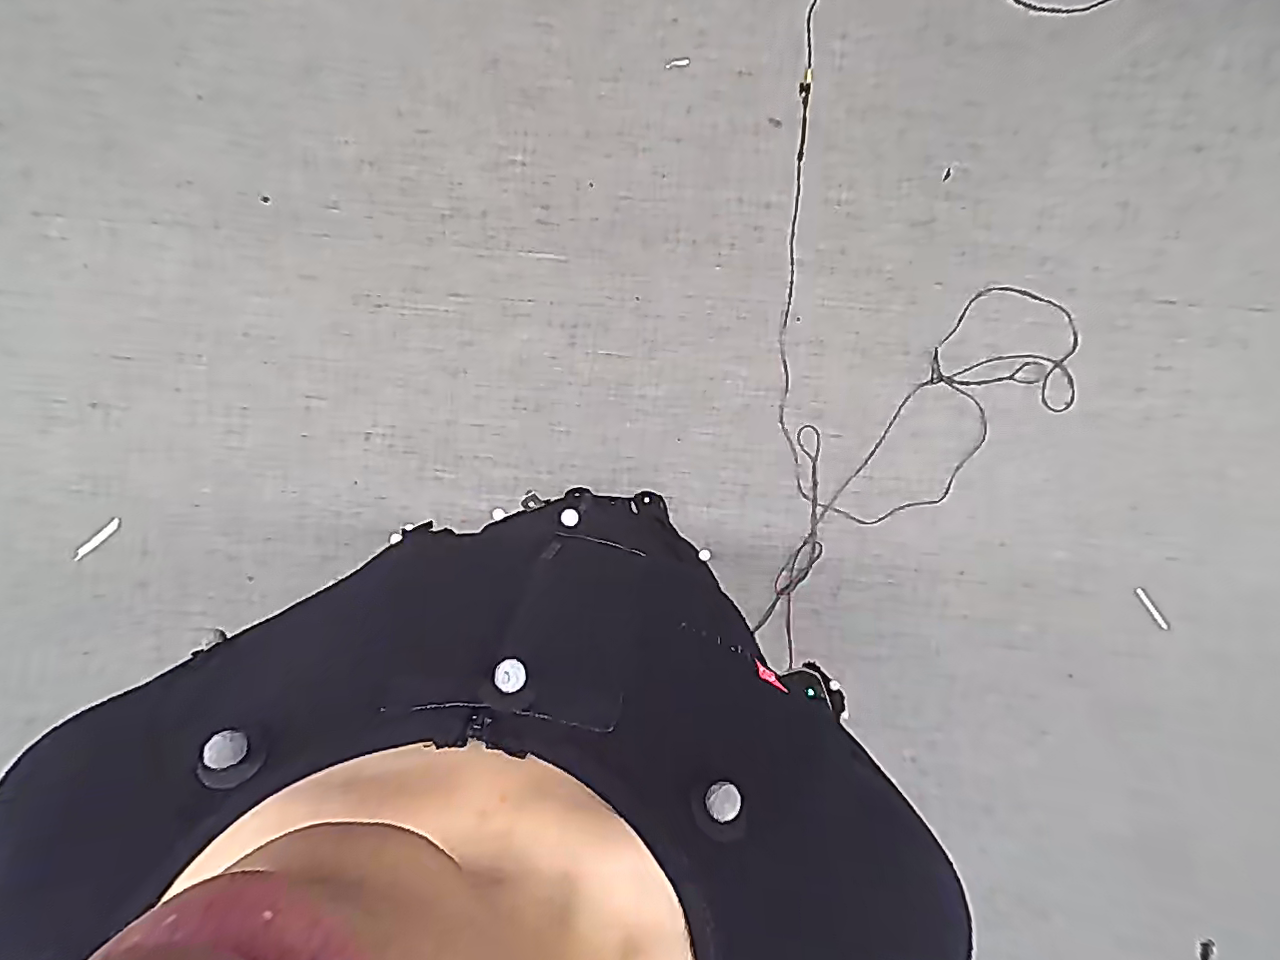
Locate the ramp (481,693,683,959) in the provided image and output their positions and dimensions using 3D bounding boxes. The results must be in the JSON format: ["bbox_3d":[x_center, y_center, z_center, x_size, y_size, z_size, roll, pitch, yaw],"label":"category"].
[{"bbox_3d":[-0.157,1.092,1.414,0.509,0.206,0.991,2,91,1],"label":"ramp"}]
